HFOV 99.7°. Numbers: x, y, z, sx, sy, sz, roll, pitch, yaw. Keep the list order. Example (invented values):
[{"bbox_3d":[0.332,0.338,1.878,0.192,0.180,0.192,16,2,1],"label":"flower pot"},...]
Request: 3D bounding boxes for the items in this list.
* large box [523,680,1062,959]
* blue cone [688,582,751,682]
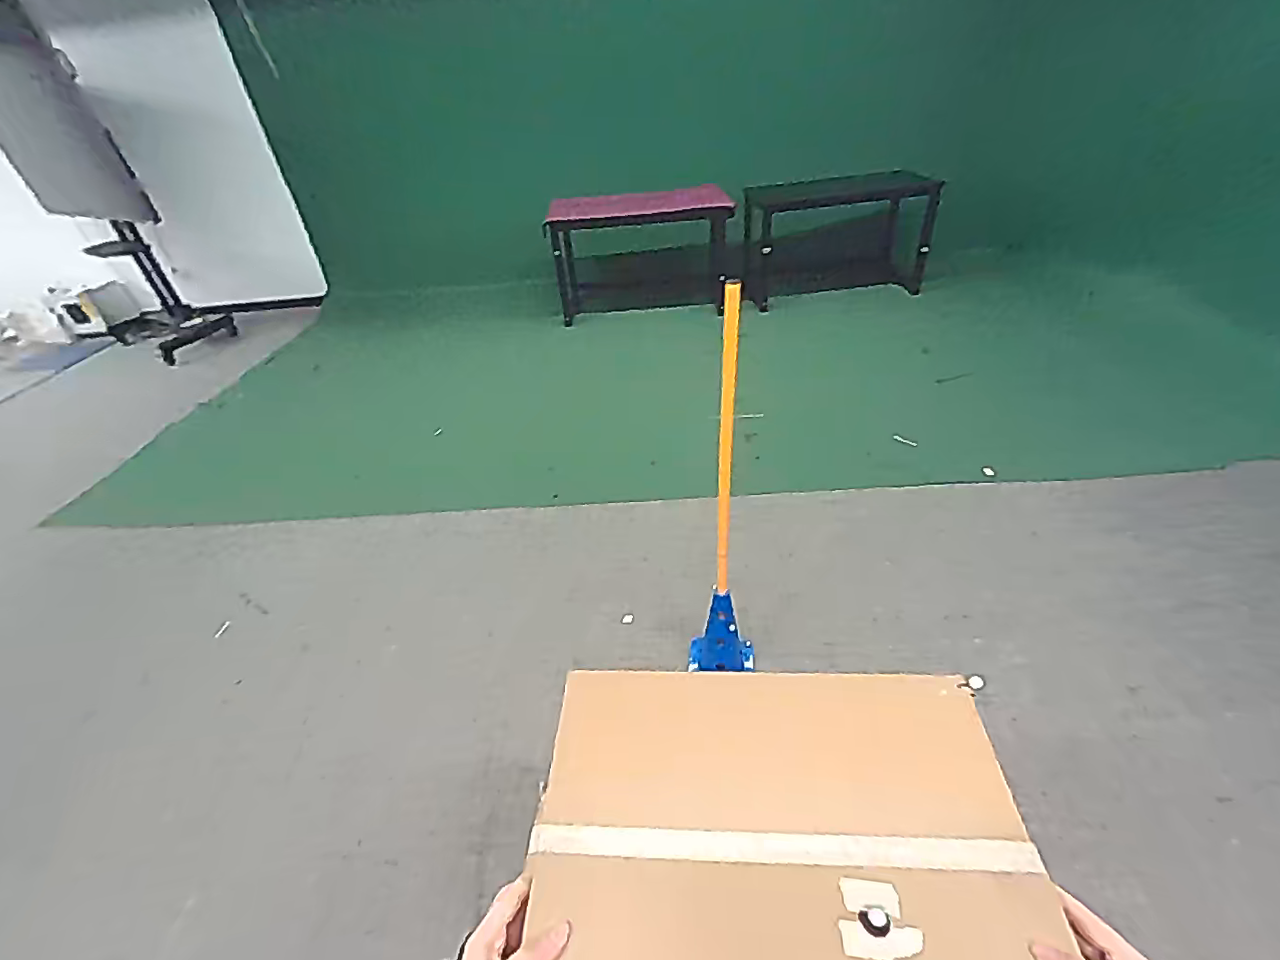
[{"bbox_3d":[0.119,0.423,0.548,0.408,0.320,0.320,-1,42,5],"label":"large box"},{"bbox_3d":[0.237,0.452,1.601,0.193,0.380,0.192,3,37,11],"label":"blue cone"}]
